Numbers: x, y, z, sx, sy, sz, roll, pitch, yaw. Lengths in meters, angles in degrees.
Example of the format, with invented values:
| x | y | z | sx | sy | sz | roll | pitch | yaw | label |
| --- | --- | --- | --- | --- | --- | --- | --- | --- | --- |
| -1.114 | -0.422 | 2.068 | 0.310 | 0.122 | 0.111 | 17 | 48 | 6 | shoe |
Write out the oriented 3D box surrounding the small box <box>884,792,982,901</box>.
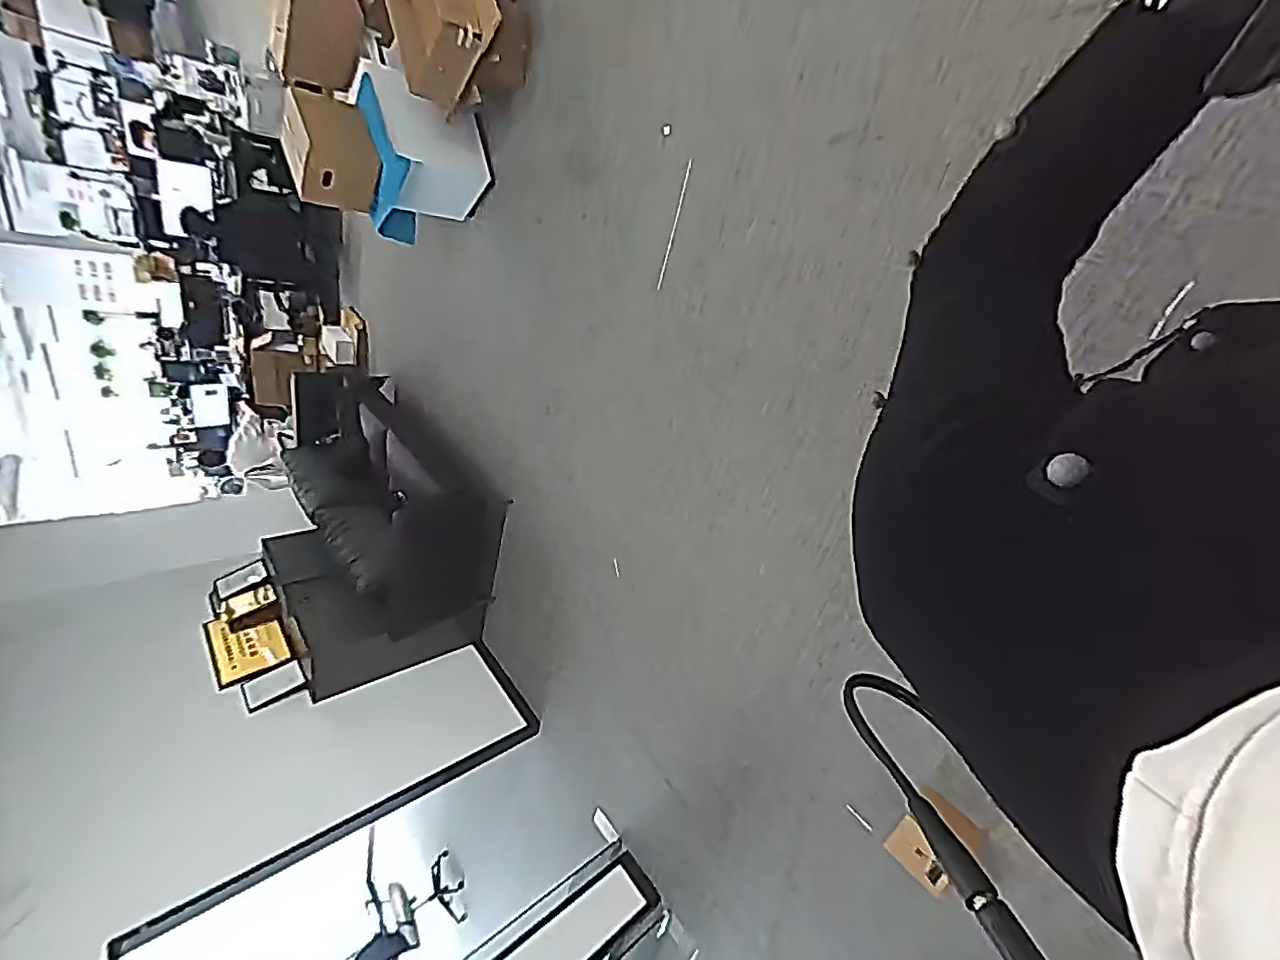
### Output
| x | y | z | sx | sy | sz | roll | pitch | yaw | label |
| --- | --- | --- | --- | --- | --- | --- | --- | --- | --- |
| 0.877 | 1.083 | 1.611 | 0.179 | 0.176 | 0.168 | 38 | 123 | 37 | small box |
